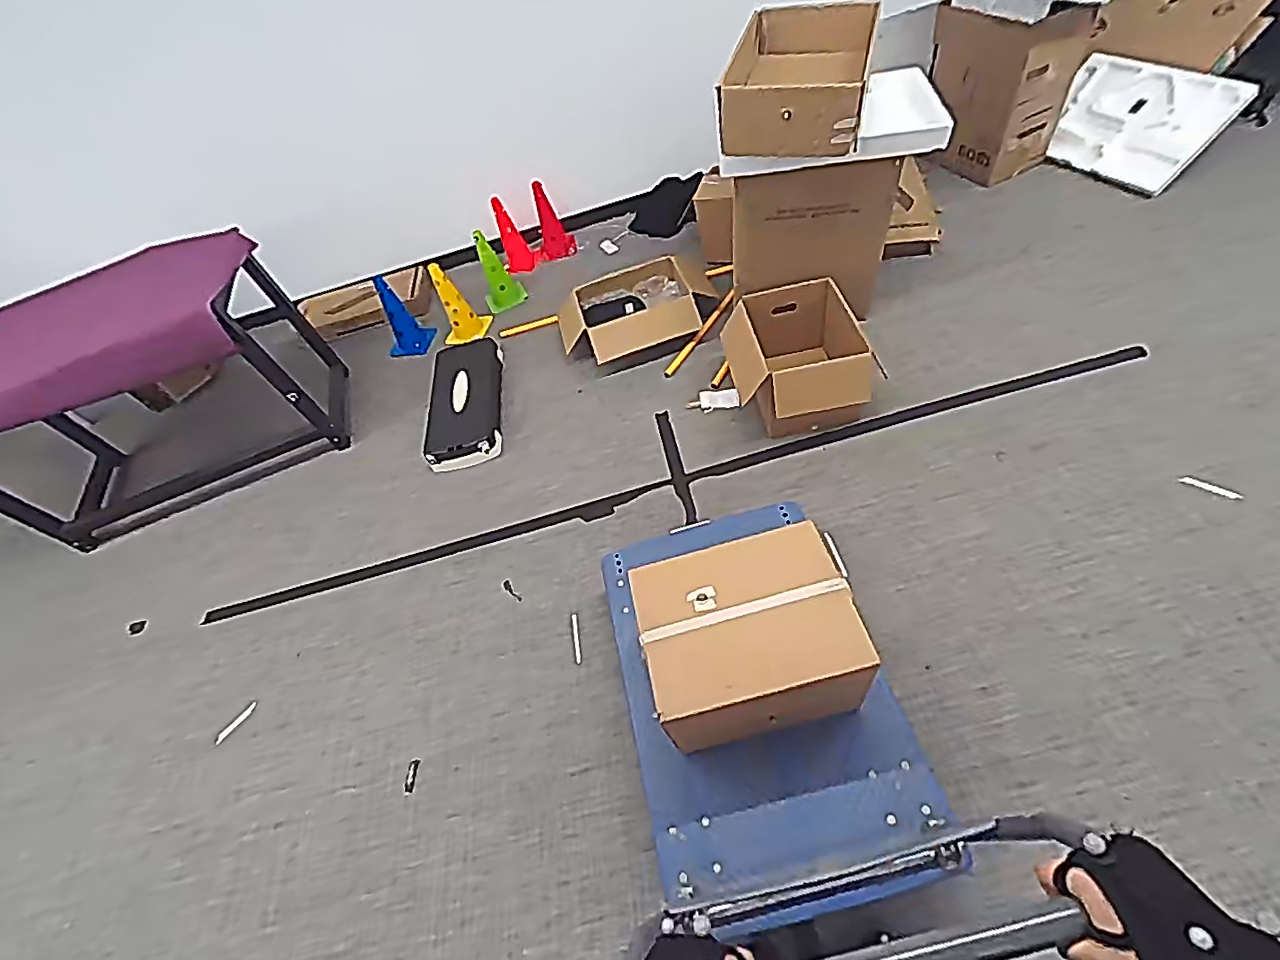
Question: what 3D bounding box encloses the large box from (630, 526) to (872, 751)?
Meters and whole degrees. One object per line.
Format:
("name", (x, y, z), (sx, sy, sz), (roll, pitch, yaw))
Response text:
("large box", (0.229, 0.355, 1.180), (0.408, 0.320, 0.320), (-17, 51, 3))
